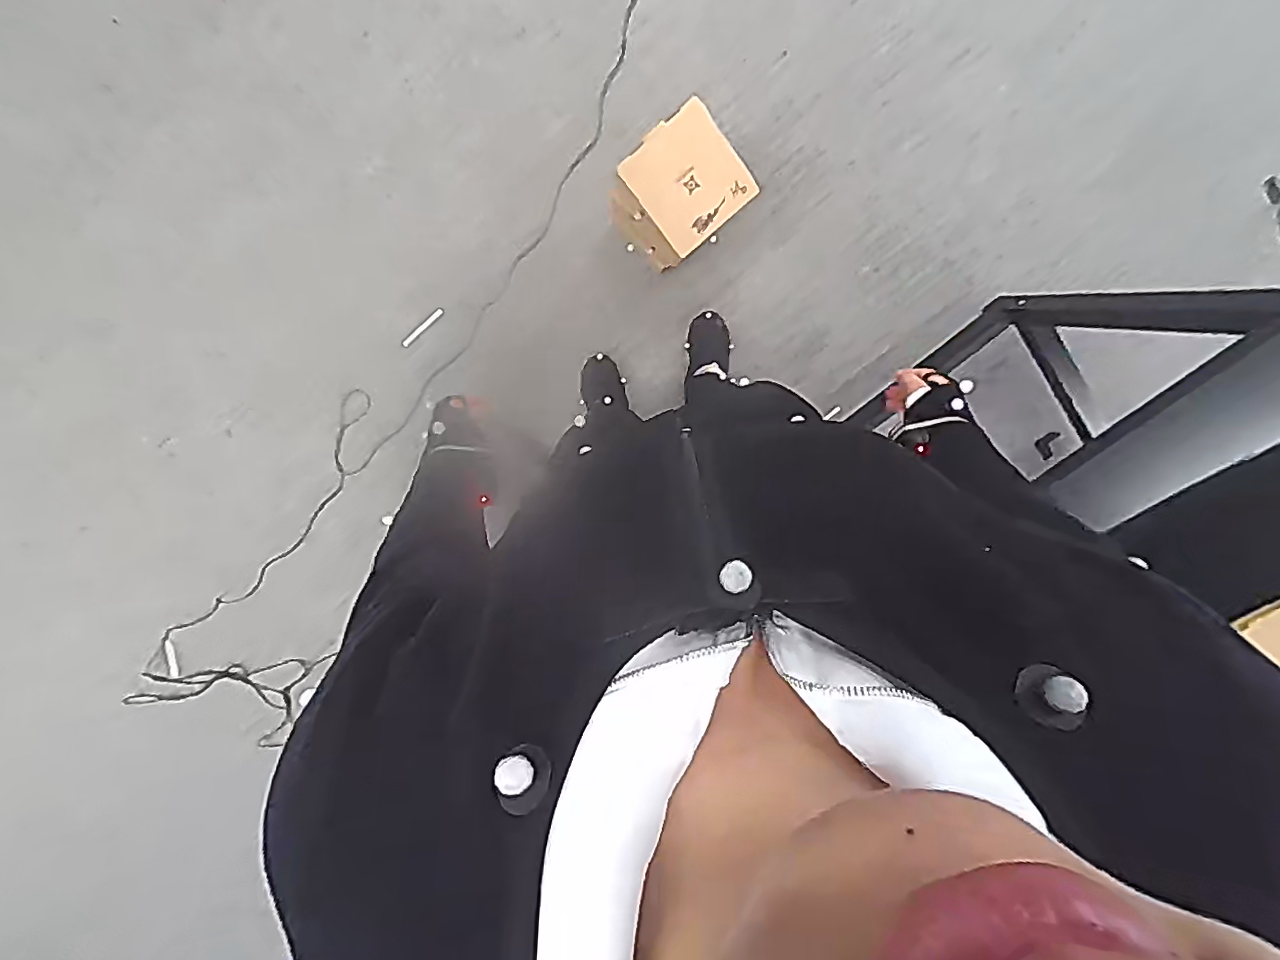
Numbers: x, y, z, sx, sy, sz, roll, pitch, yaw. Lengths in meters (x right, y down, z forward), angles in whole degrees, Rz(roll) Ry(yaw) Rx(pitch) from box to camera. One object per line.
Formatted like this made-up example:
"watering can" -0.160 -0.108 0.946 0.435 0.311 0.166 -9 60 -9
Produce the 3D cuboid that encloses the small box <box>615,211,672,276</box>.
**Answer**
"small box" 0.057 -0.600 1.253 0.179 0.176 0.168 -42 103 11

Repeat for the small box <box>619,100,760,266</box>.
"small box" 0.077 -0.499 0.943 0.168 0.176 0.179 -38 104 9

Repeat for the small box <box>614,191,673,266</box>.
"small box" 0.065 -0.559 1.097 0.168 0.176 0.179 41 100 -14
